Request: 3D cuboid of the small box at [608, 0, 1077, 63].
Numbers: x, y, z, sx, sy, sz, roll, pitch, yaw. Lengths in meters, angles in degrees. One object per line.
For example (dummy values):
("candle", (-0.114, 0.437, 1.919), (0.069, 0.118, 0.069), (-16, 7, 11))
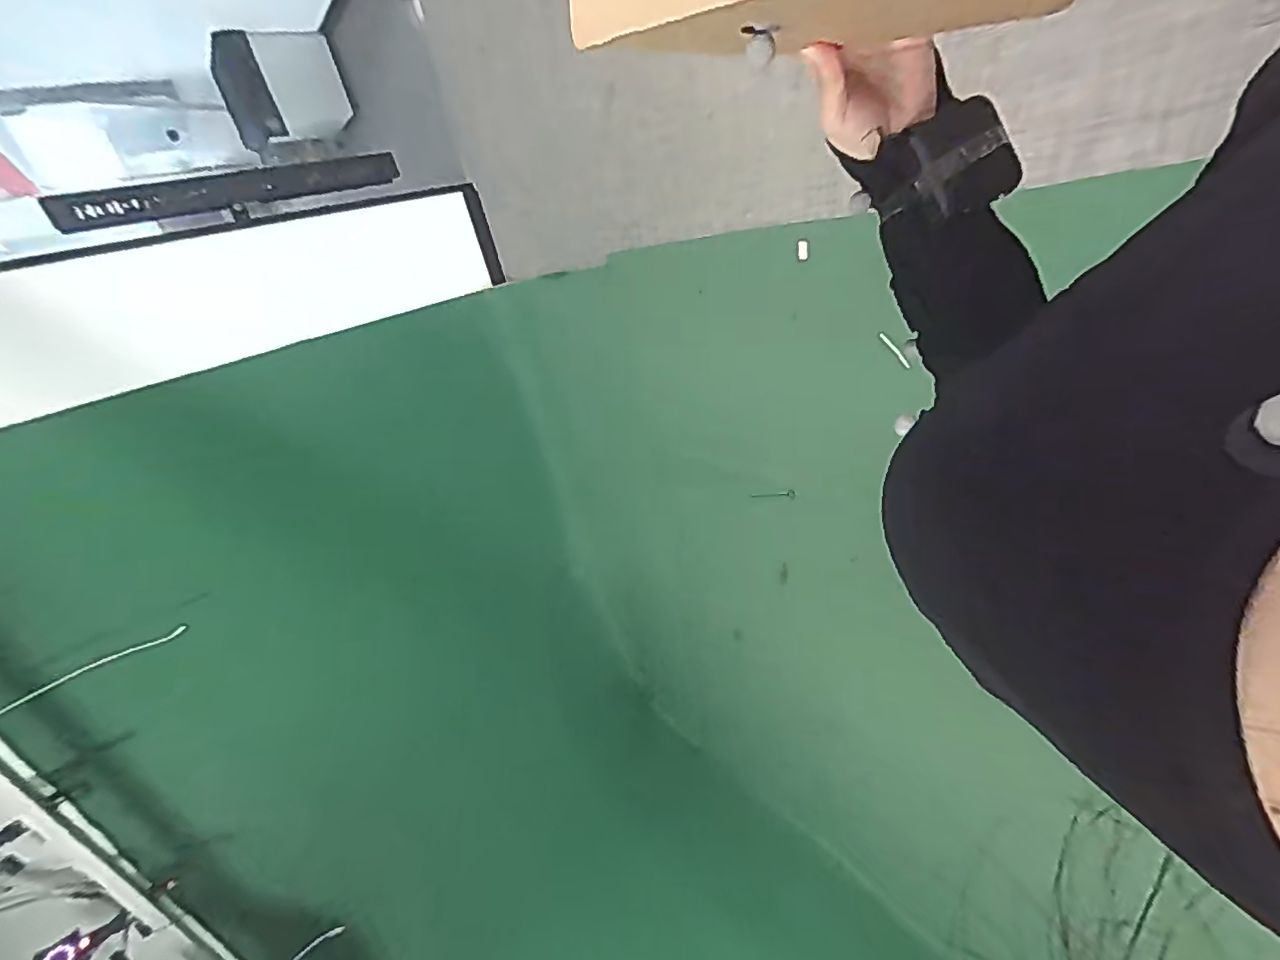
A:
("small box", (0.096, -0.294, 0.233), (0.179, 0.176, 0.168), (36, 140, 46))
